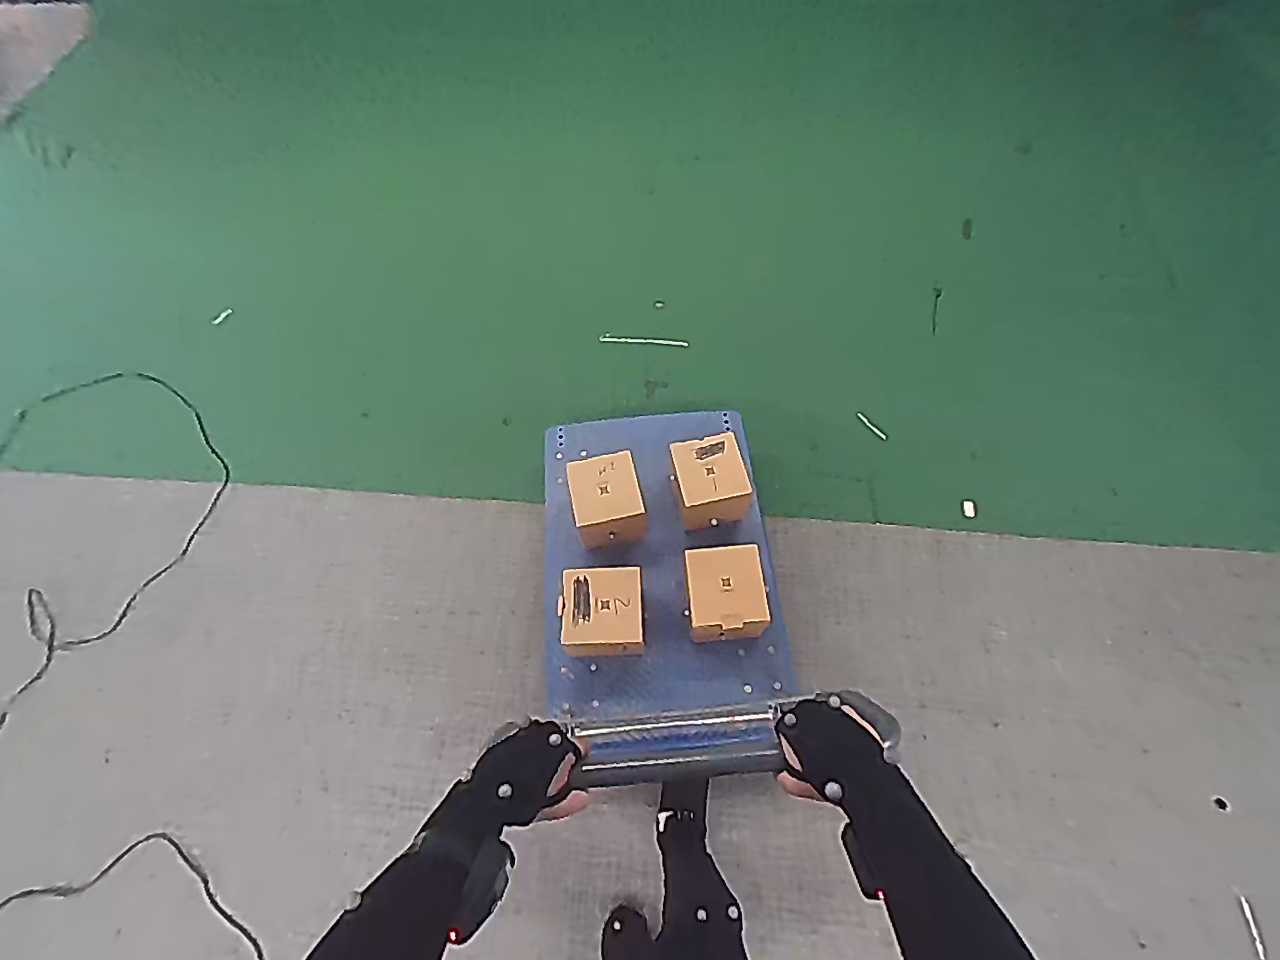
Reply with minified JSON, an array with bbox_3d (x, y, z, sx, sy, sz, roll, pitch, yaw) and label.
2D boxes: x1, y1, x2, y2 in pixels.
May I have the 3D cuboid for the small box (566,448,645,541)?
[{"bbox_3d":[-0.083,0.045,1.370,0.168,0.176,0.179,-12,64,-4],"label":"small box"}]

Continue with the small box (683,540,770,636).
[{"bbox_3d":[0.193,0.254,1.258,0.168,0.176,0.179,-5,64,0],"label":"small box"}]

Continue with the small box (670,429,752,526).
[{"bbox_3d":[0.173,-0.003,1.383,0.168,0.176,0.179,-12,65,-3],"label":"small box"}]
